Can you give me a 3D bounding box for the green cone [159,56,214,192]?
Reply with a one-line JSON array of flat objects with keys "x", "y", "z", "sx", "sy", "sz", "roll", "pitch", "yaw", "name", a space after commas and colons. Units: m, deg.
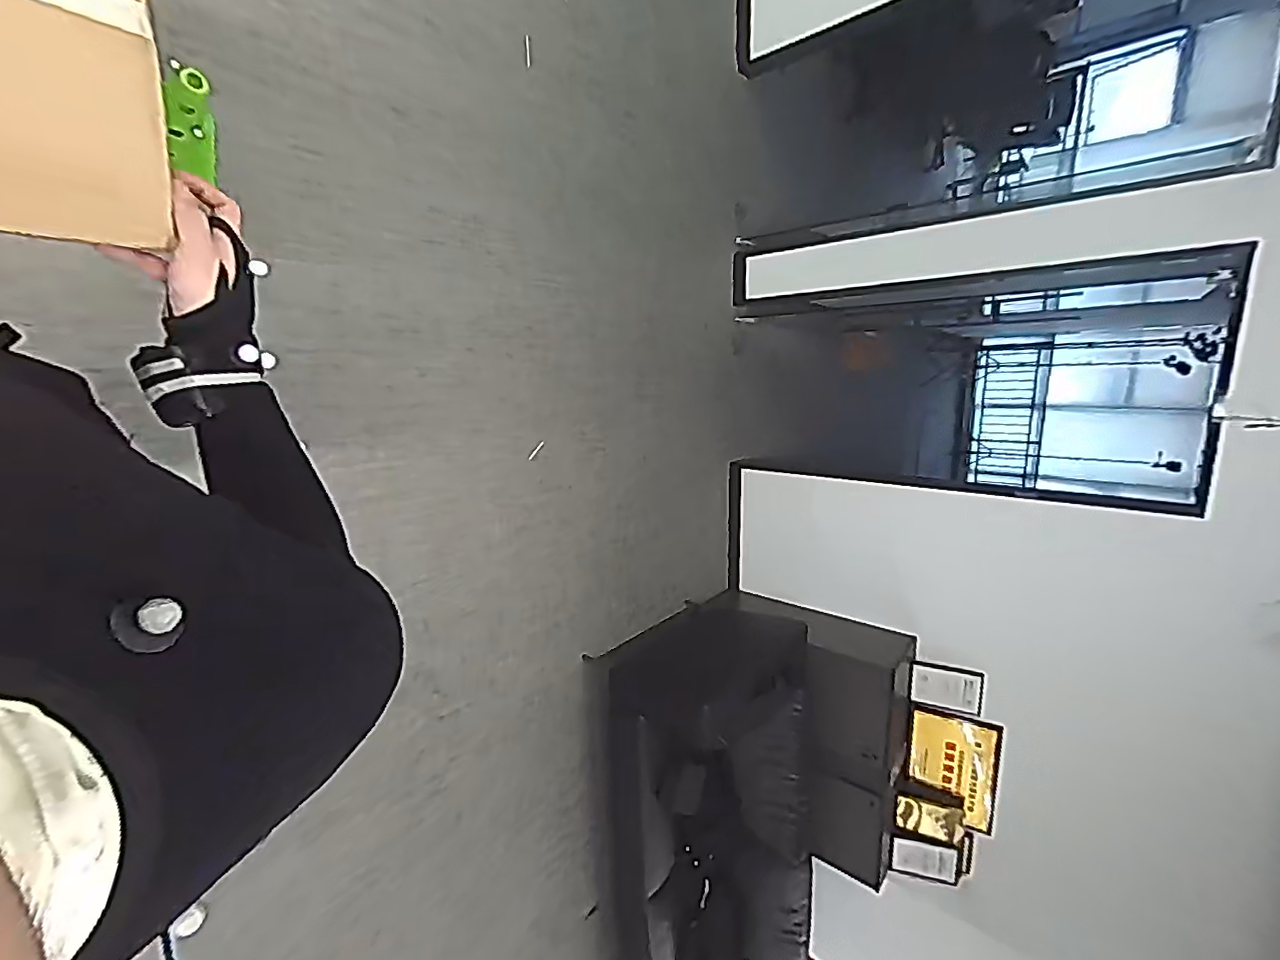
[{"x": -0.942, "y": -0.756, "z": 1.093, "sx": 0.200, "sy": 0.368, "sz": 0.202, "roll": -4, "pitch": 99, "yaw": -50, "name": "green cone"}]
